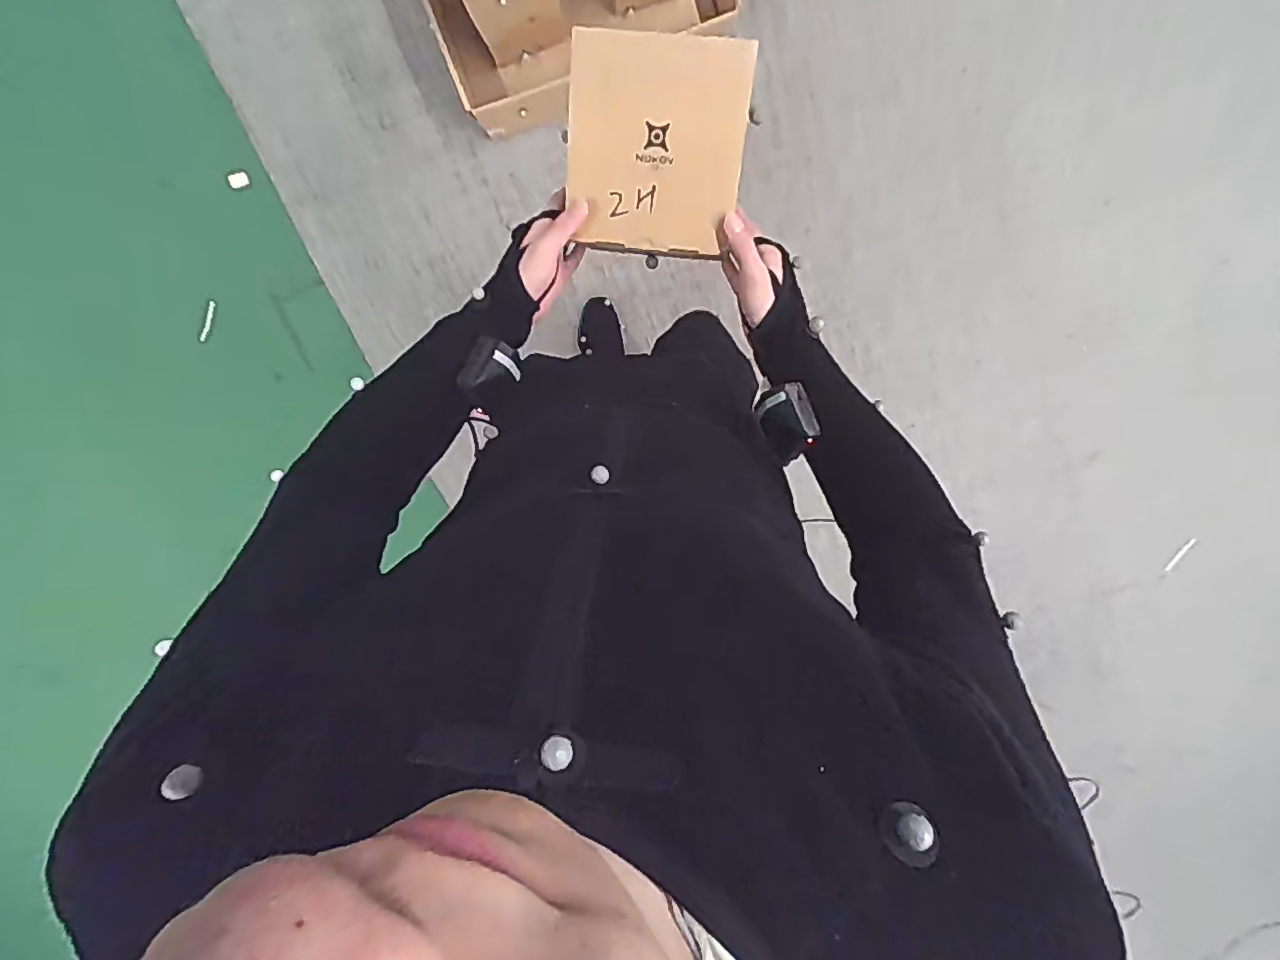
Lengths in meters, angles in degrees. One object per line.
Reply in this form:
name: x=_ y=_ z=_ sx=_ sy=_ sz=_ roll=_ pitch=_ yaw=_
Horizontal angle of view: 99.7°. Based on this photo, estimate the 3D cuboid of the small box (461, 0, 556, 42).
small box: x=-0.264 y=-0.948 z=0.972 sx=0.168 sy=0.176 sz=0.179 roll=-21 pitch=110 yaw=6

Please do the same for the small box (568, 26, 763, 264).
small box: x=0.024 y=-0.334 z=0.575 sx=0.168 sy=0.176 sz=0.179 roll=7 pitch=111 yaw=2
